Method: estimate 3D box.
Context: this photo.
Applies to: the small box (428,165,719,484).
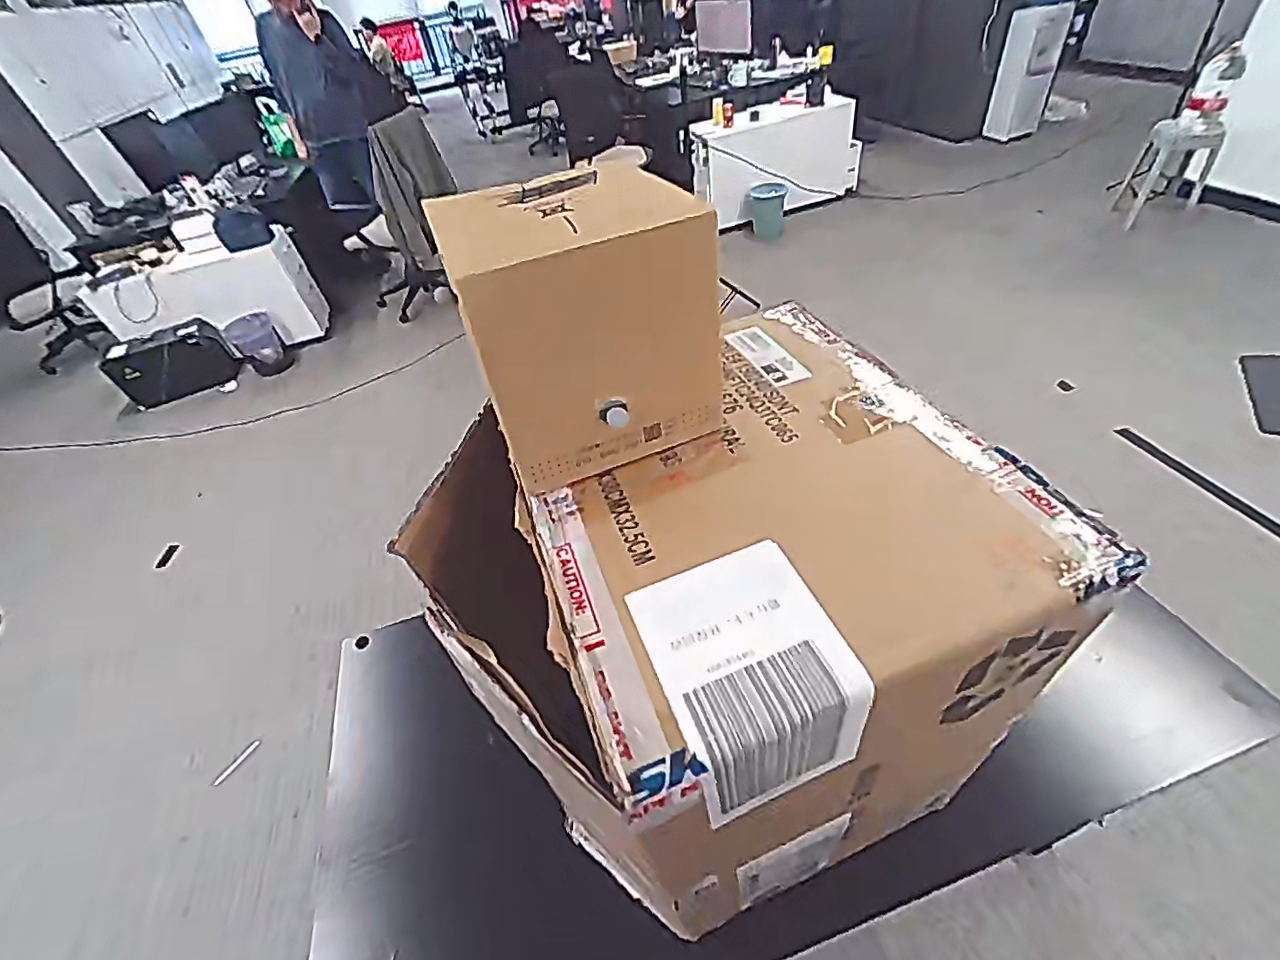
[{"bbox_3d":[-0.050,-0.126,0.426,0.168,0.176,0.179,-20,43,-12],"label":"small box"}]
